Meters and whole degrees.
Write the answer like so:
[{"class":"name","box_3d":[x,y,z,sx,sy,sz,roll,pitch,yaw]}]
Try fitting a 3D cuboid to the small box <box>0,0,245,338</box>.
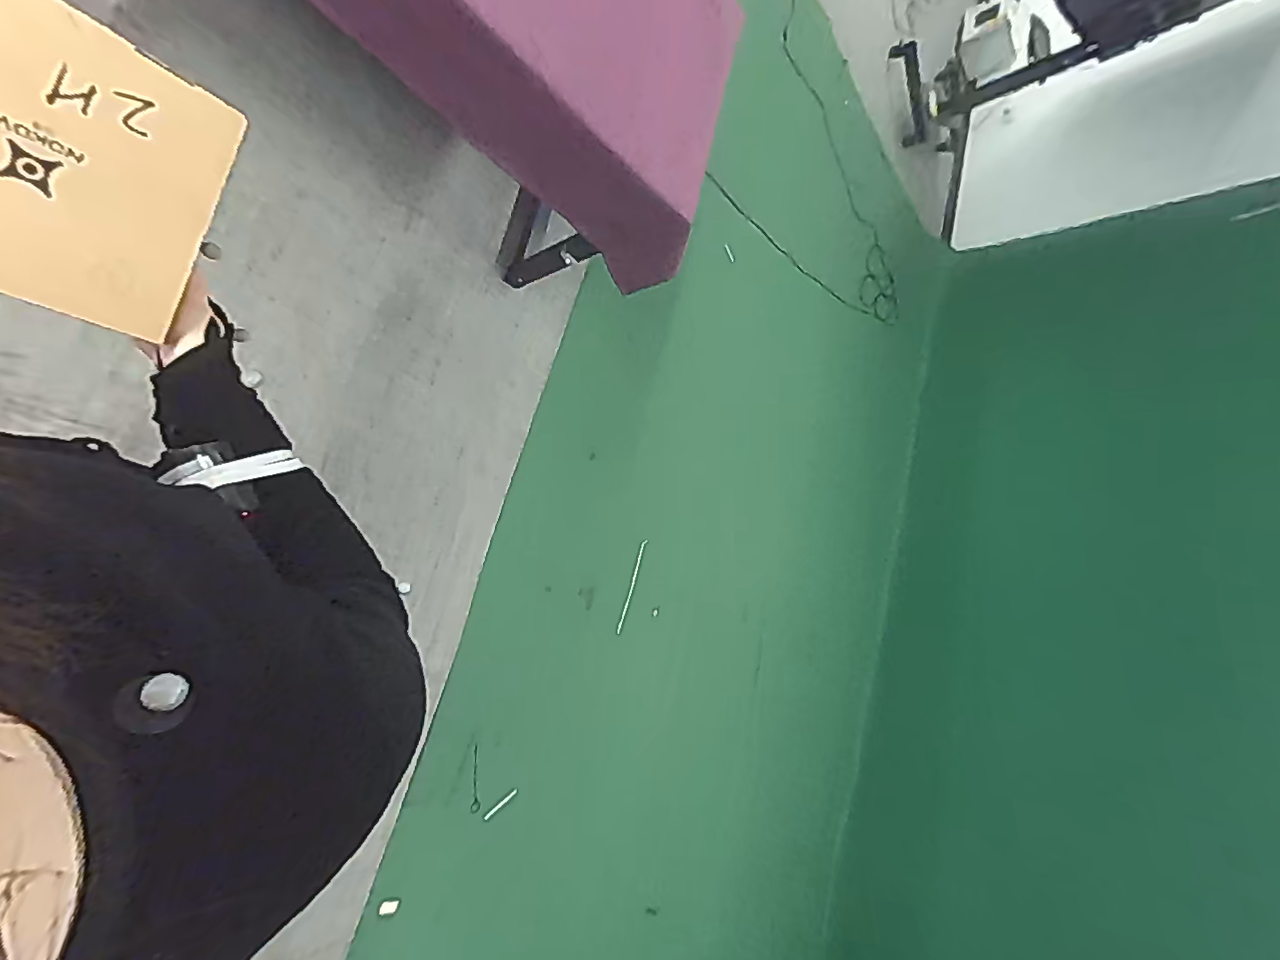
[{"class":"small box","box_3d":[-0.410,-0.227,0.379,0.168,0.176,0.179,20,98,-46]}]
